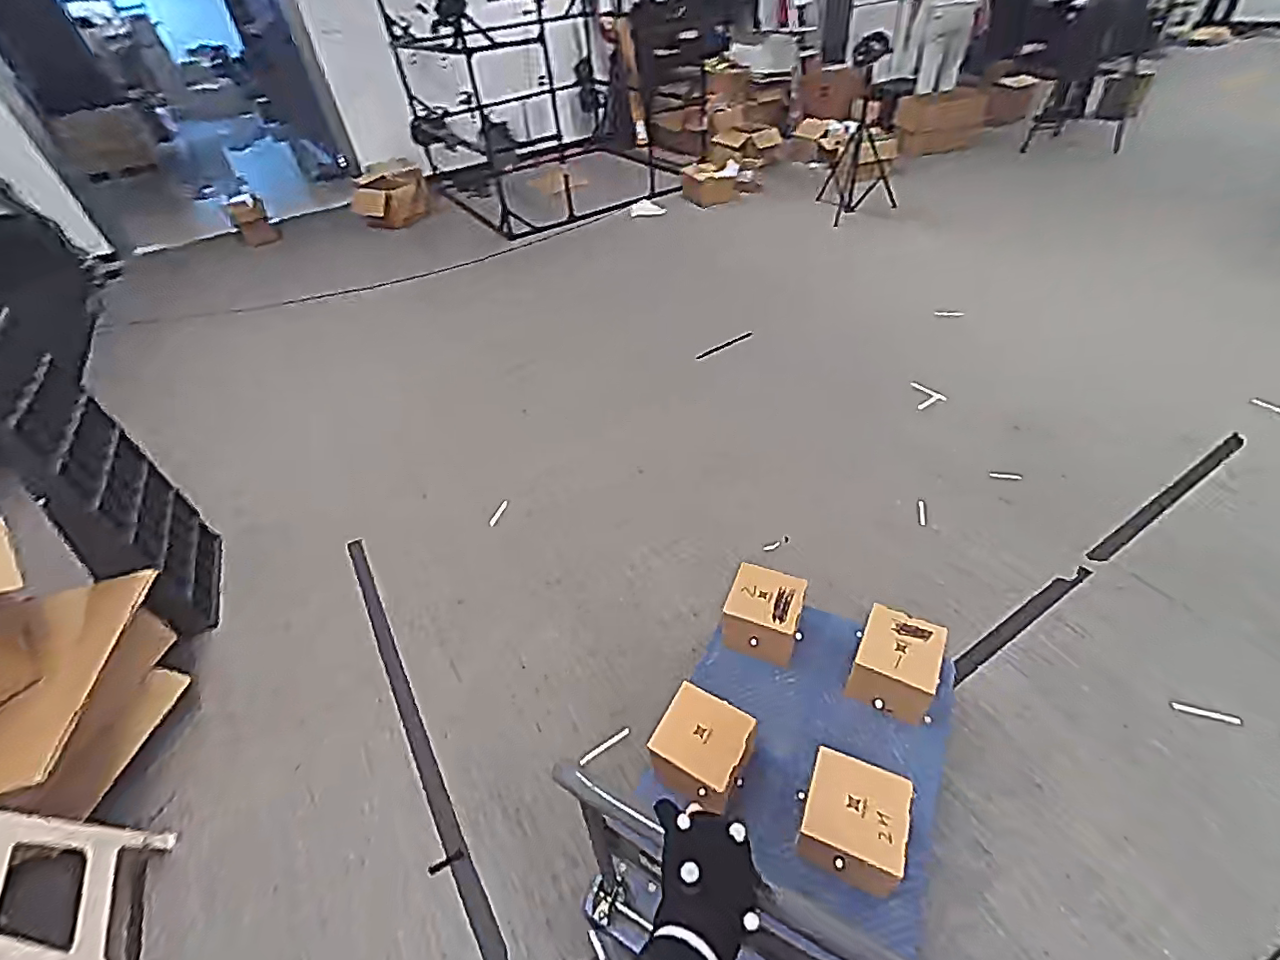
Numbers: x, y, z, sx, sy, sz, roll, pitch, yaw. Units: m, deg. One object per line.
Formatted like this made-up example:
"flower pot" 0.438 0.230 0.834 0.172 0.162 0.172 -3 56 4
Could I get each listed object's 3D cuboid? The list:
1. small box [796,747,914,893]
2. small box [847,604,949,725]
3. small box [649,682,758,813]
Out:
"small box" 0.411 0.662 1.049 0.179 0.176 0.168 14 47 22
"small box" 0.600 0.433 1.270 0.168 0.176 0.179 18 50 25
"small box" 0.138 0.583 1.173 0.179 0.176 0.168 21 49 25
